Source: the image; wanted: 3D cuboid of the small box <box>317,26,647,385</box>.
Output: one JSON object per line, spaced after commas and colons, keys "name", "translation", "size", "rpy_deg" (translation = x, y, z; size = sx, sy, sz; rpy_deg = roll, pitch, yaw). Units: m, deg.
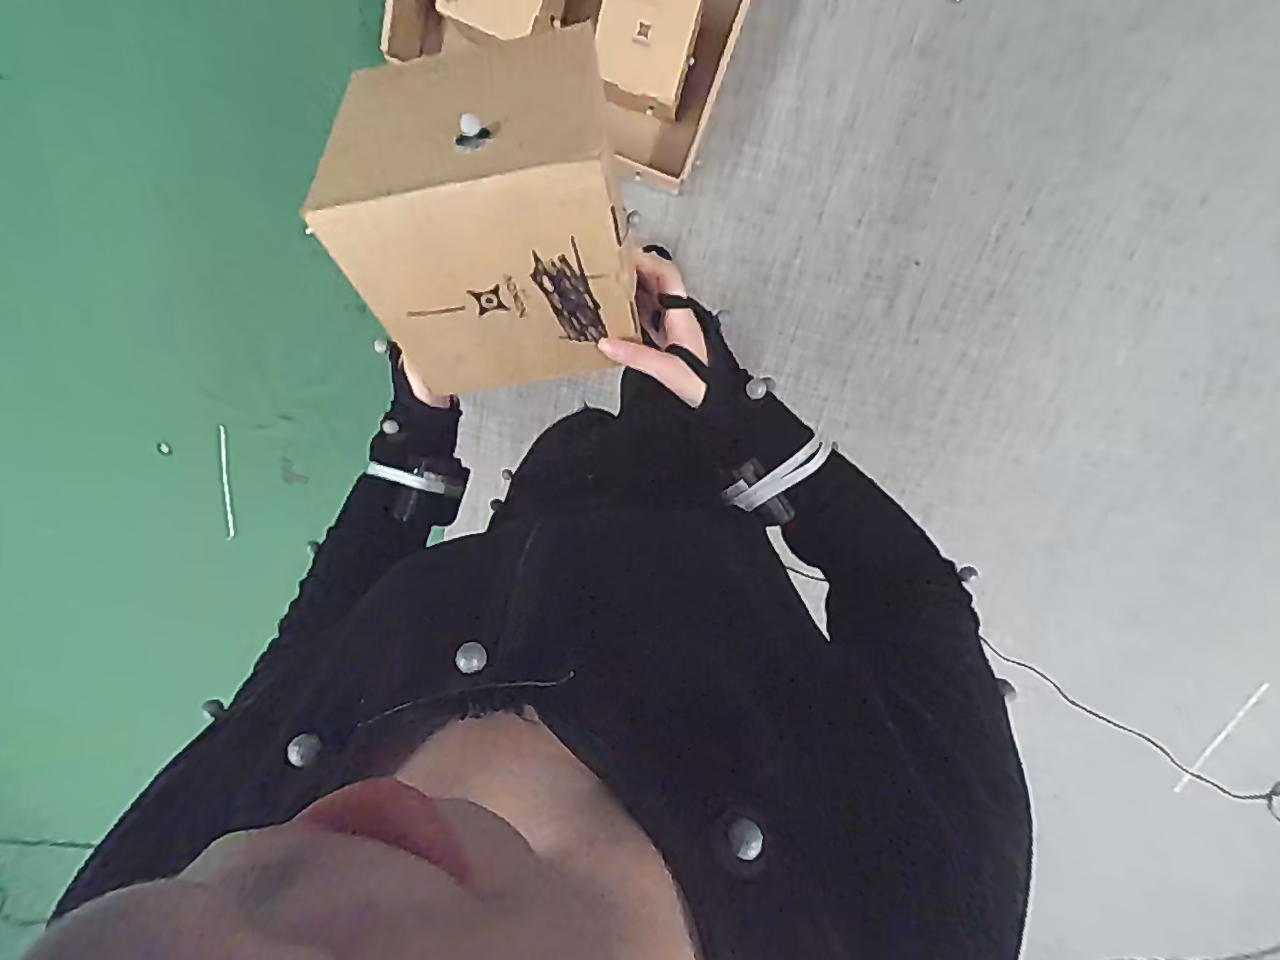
{"name": "small box", "translation": [-0.096, -0.198, 0.405], "size": [0.179, 0.176, 0.168], "rpy_deg": [-7, 149, 4]}
